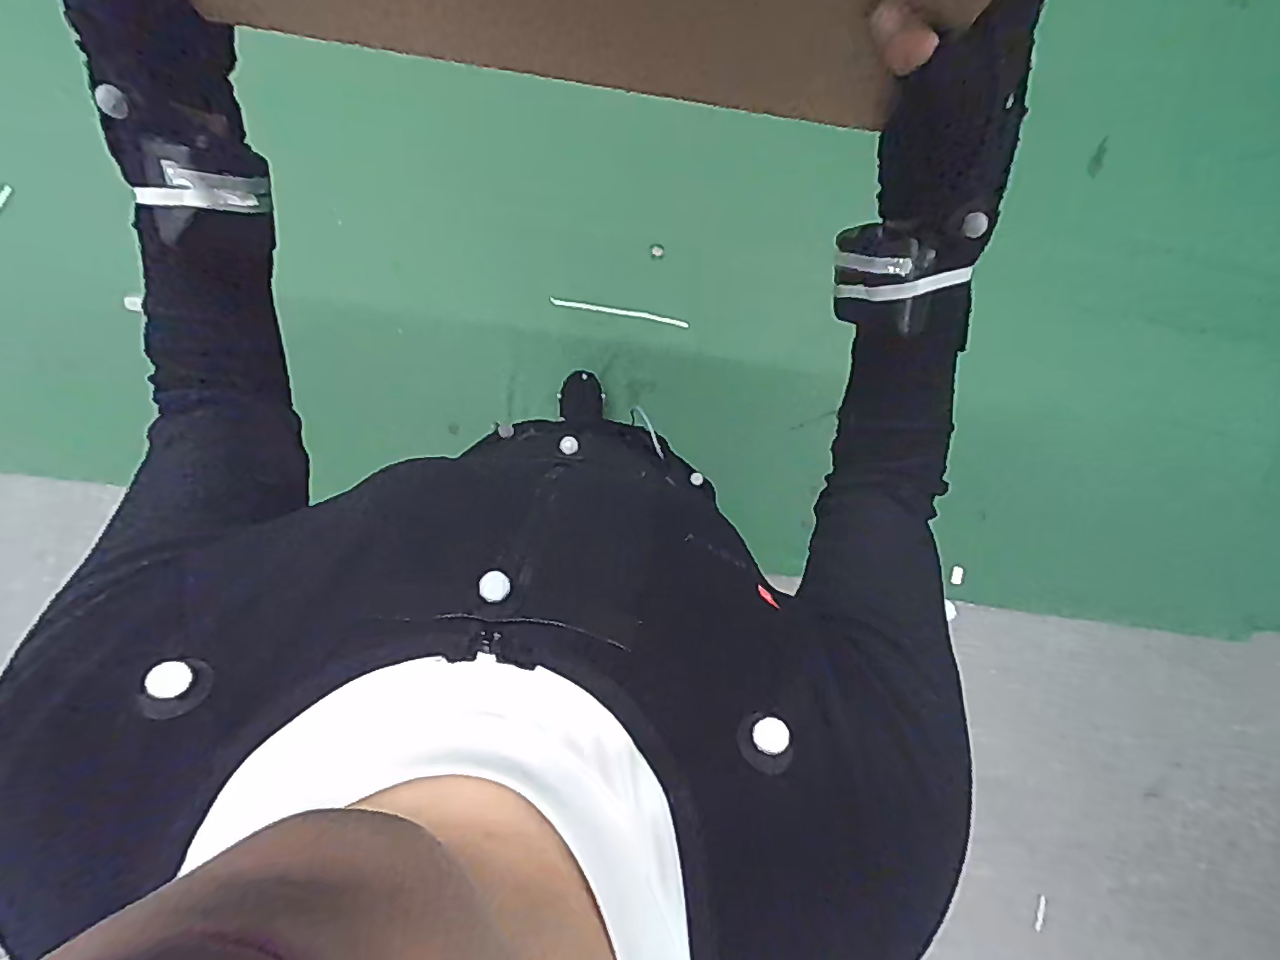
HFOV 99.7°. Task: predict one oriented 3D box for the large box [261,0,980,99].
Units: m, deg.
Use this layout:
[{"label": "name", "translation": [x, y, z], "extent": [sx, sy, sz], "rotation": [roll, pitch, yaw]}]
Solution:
[{"label": "large box", "translation": [-0.010, -0.391, 0.163], "extent": [0.408, 0.320, 0.320], "rotation": [6, 93, -5]}]
